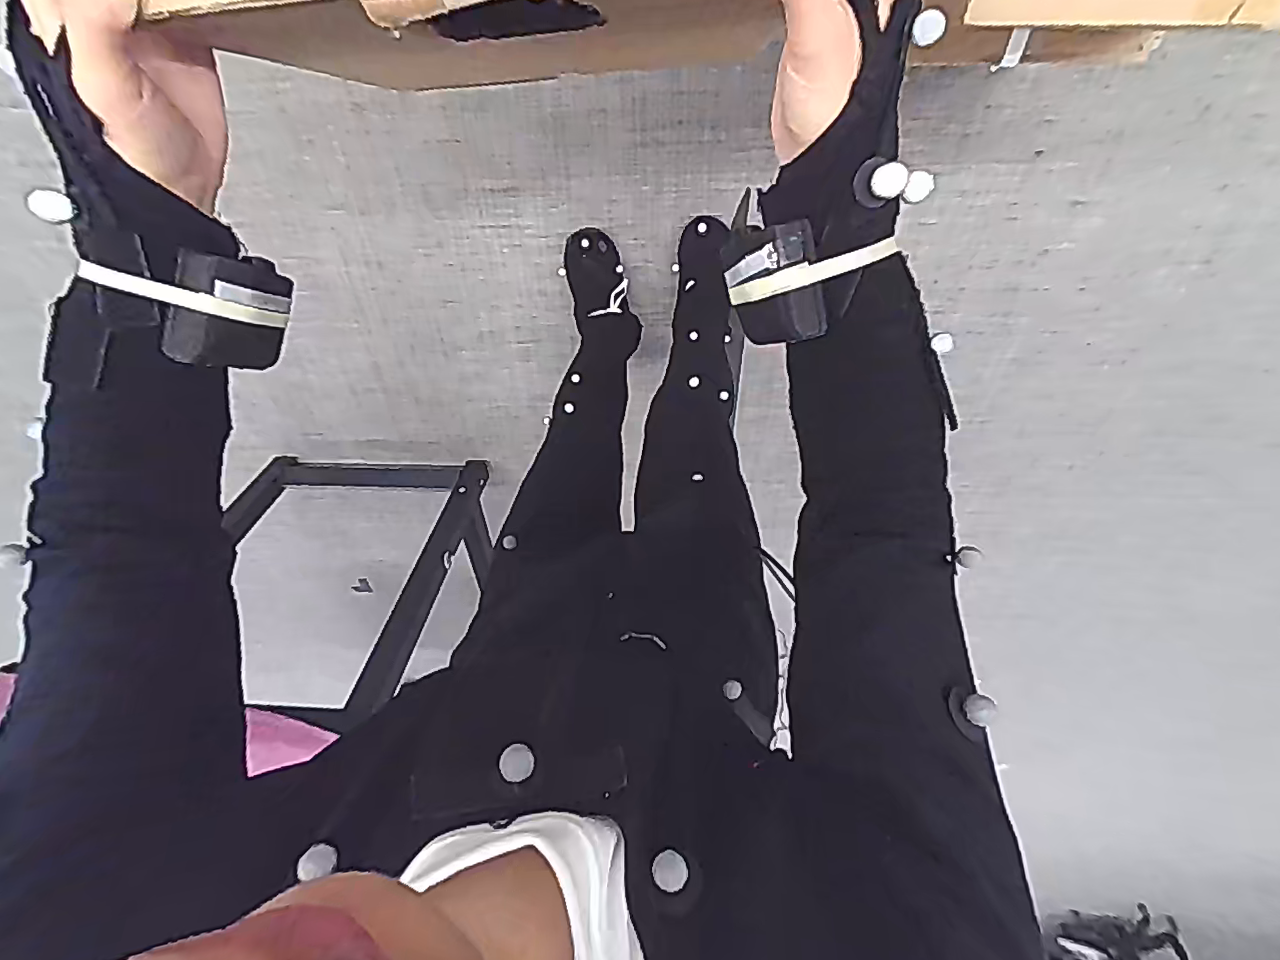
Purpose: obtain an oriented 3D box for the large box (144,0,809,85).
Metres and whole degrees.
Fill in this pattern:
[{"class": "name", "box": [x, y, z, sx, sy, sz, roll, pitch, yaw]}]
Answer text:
[{"class": "large box", "box": [-0.068, -0.446, 0.235, 0.320, 0.320, 0.408, -3, 122, 5]}]
